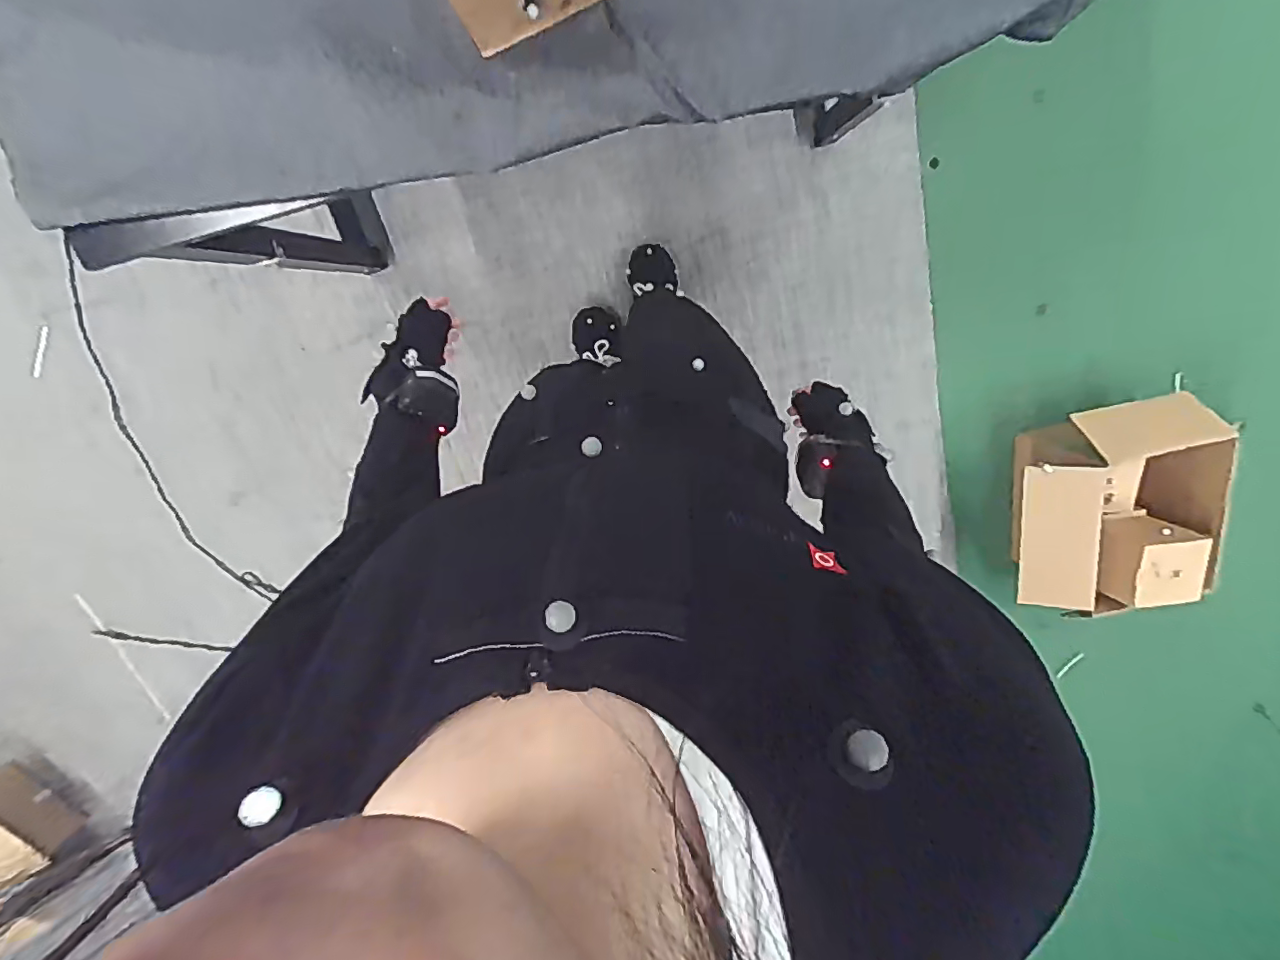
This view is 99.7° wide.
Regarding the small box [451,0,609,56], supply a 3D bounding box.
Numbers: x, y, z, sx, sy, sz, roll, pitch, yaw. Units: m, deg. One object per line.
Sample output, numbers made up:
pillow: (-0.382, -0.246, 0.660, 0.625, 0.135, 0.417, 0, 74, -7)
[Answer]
small box: (-0.125, -0.537, 0.482, 0.168, 0.176, 0.179, -22, 109, 5)
